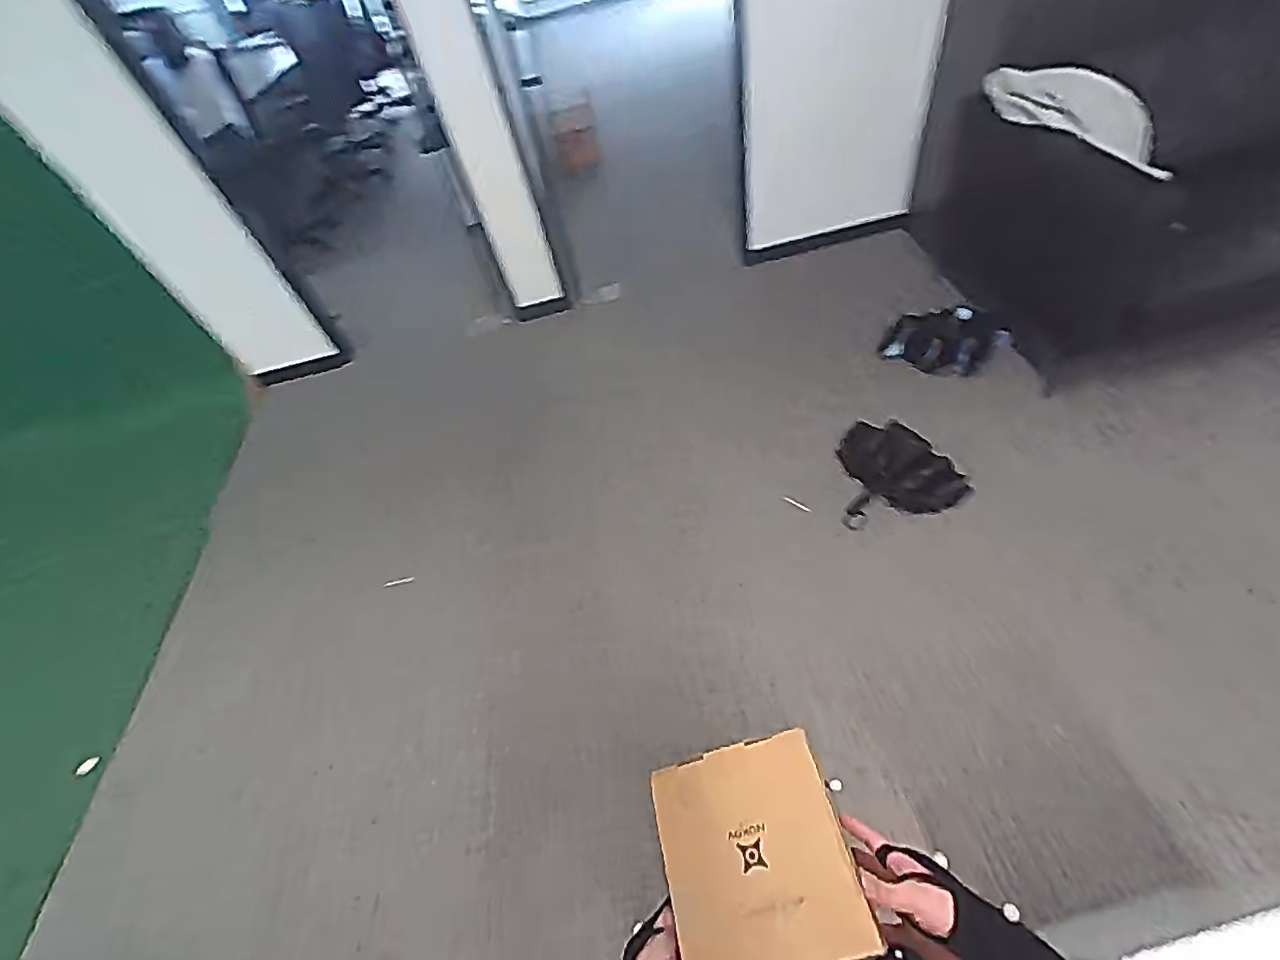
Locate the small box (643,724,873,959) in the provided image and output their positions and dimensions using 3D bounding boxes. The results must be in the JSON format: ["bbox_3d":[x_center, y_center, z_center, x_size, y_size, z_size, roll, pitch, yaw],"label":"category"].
[{"bbox_3d":[0.118,0.382,0.550,0.168,0.176,0.179,-22,46,7],"label":"small box"}]
